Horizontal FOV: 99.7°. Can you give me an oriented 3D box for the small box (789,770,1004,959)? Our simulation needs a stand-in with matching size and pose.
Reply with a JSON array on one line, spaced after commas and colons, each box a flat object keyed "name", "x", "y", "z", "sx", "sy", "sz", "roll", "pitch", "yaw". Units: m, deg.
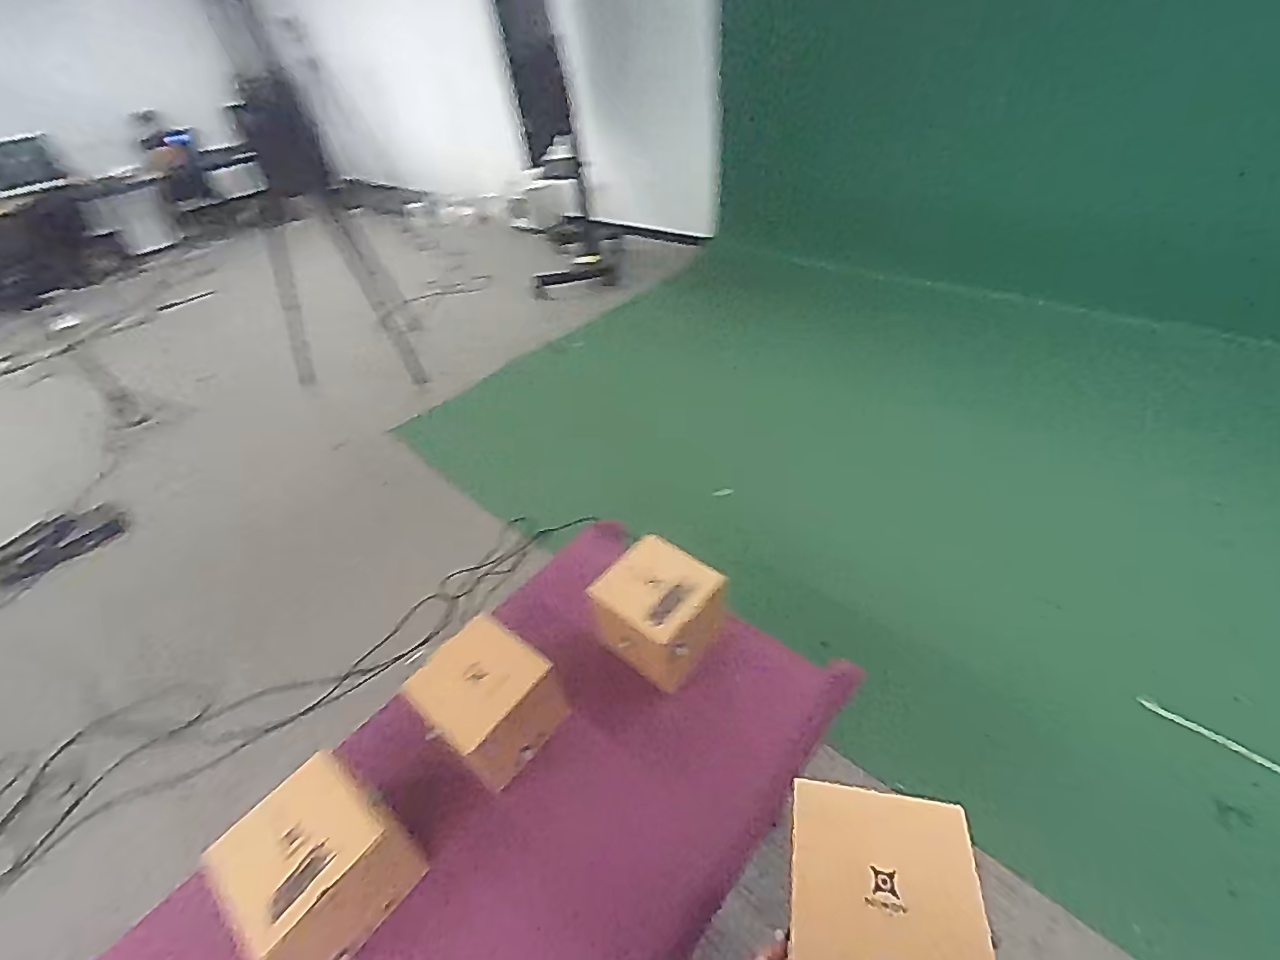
[{"name": "small box", "x": 0.241, "y": 0.434, "z": 0.544, "sx": 0.168, "sy": 0.176, "sz": 0.179, "roll": 4, "pitch": 38, "yaw": 16}]

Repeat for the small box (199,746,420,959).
[{"name": "small box", "x": -0.435, "y": 0.512, "z": 0.737, "sx": 0.179, "sy": 0.176, "sz": 0.168, "roll": 25, "pitch": 51, "yaw": 32}]

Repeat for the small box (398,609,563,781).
[{"name": "small box", "x": -0.253, "y": 0.353, "z": 0.888, "sx": 0.179, "sy": 0.176, "sz": 0.168, "roll": 26, "pitch": 52, "yaw": 30}]
